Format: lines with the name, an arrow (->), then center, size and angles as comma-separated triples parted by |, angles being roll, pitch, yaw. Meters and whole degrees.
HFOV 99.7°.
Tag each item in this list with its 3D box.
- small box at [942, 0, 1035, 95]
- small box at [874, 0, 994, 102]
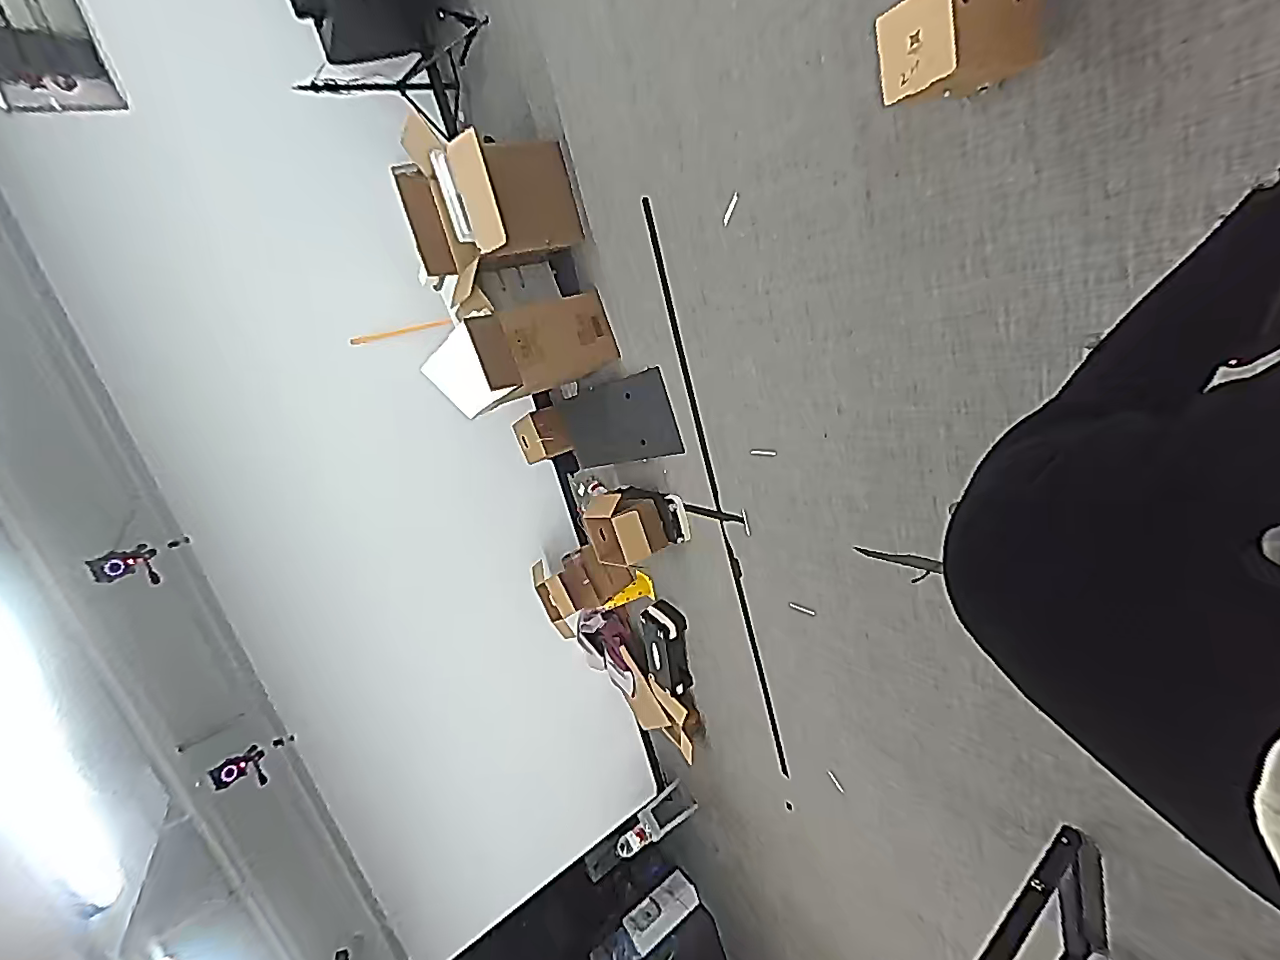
small box -> 0.771, -1.010, 1.235 | 0.168, 0.176, 0.179 | 14, 122, 57
small box -> 0.635, -0.949, 1.166 | 0.168, 0.176, 0.179 | 14, 123, 58
